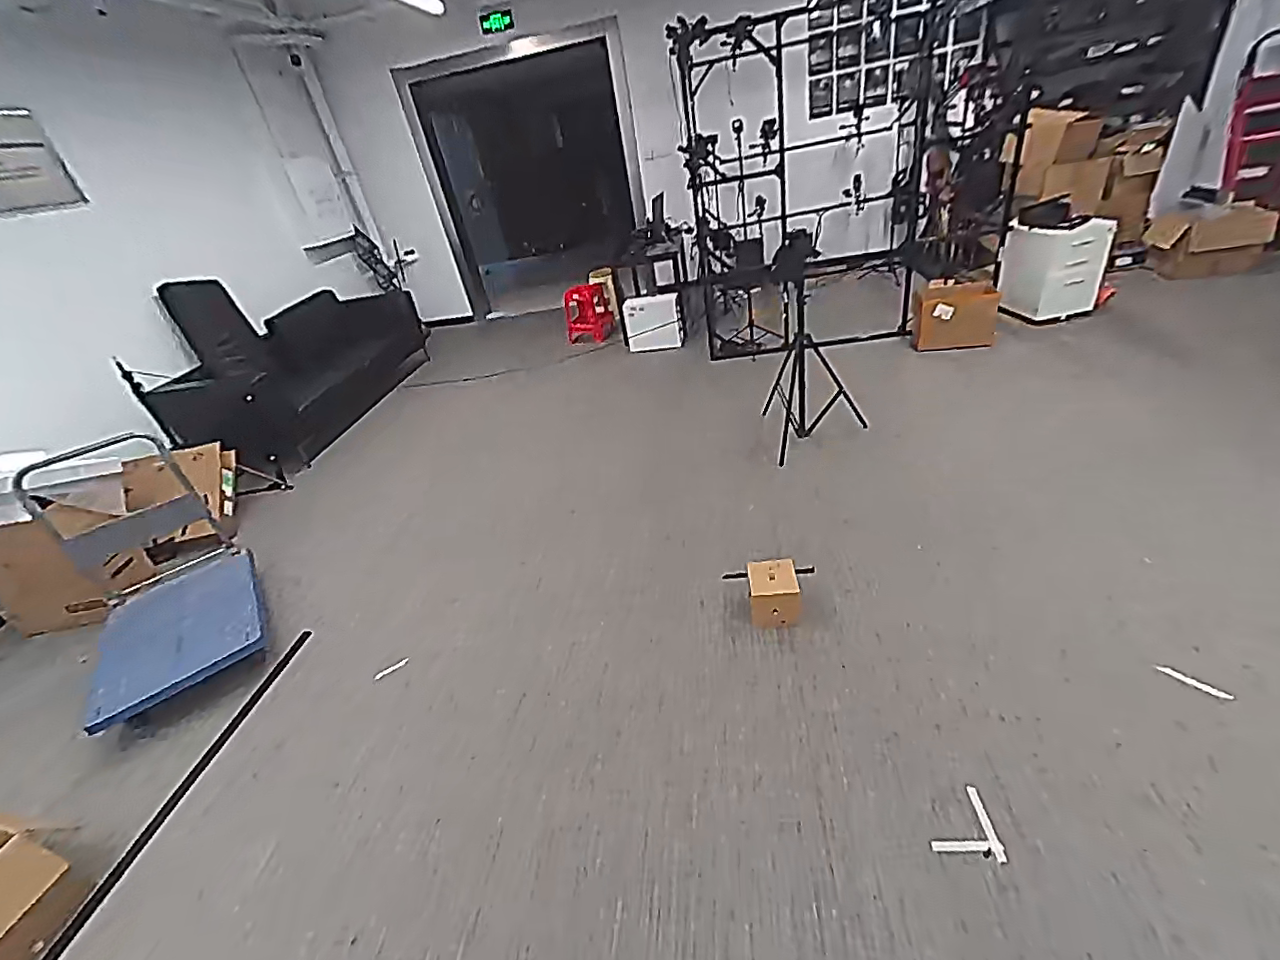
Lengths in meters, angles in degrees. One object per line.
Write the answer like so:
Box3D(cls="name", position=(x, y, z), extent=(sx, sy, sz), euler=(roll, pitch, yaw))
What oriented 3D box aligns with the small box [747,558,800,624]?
Box3D(cls="small box", position=(0.489, 0.411, 1.978), extent=(0.168, 0.176, 0.179), euler=(-6, 32, 8))
